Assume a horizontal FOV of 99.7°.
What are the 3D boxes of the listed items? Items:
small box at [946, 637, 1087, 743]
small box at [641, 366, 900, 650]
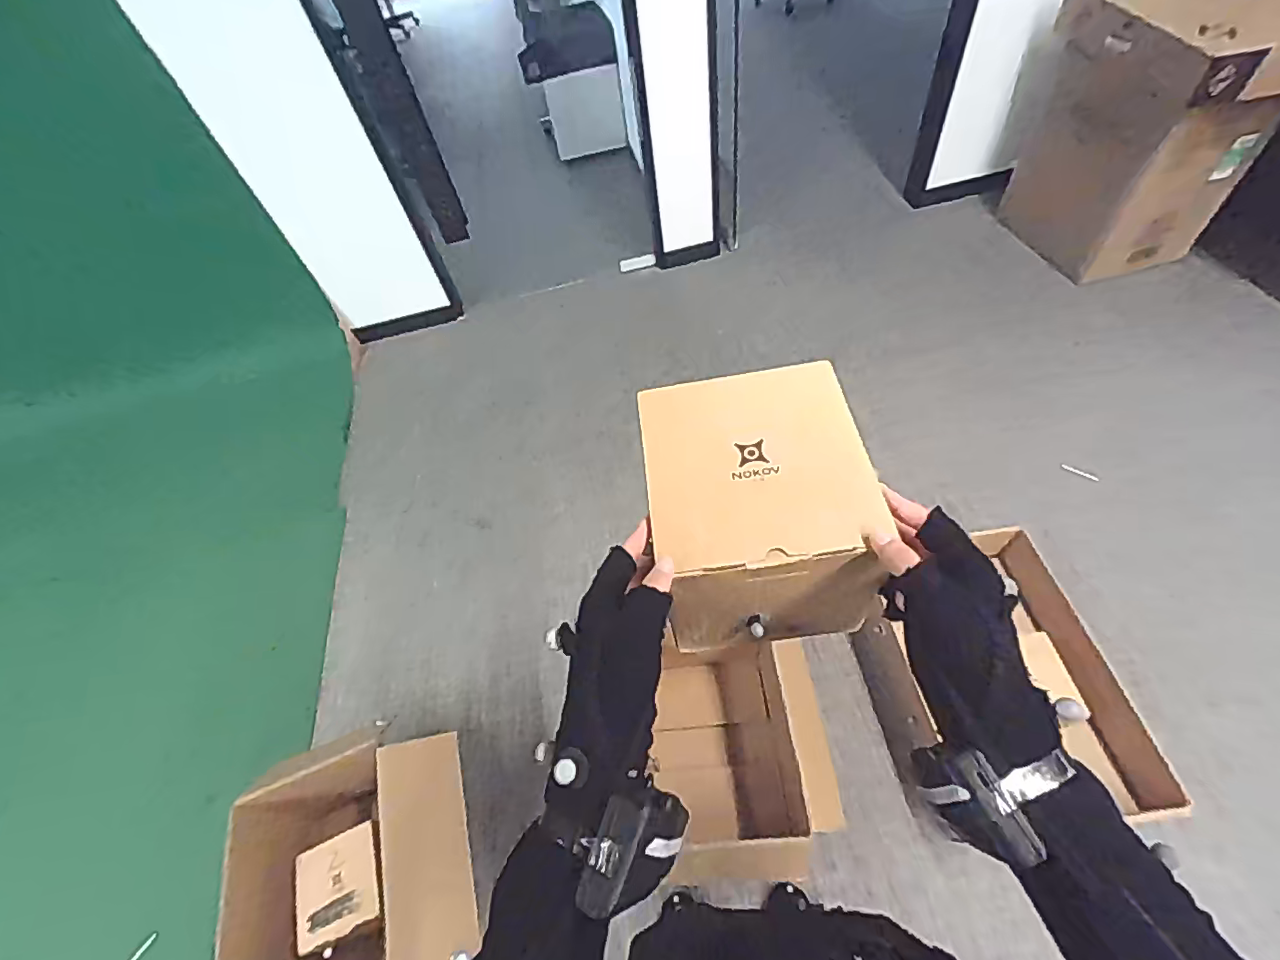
[{"bbox_3d":[0.804,0.462,1.178,0.168,0.176,0.179,-7,52,4],"label":"small box"},{"bbox_3d":[0.098,0.031,0.476,0.168,0.176,0.179,-9,55,5],"label":"small box"}]
